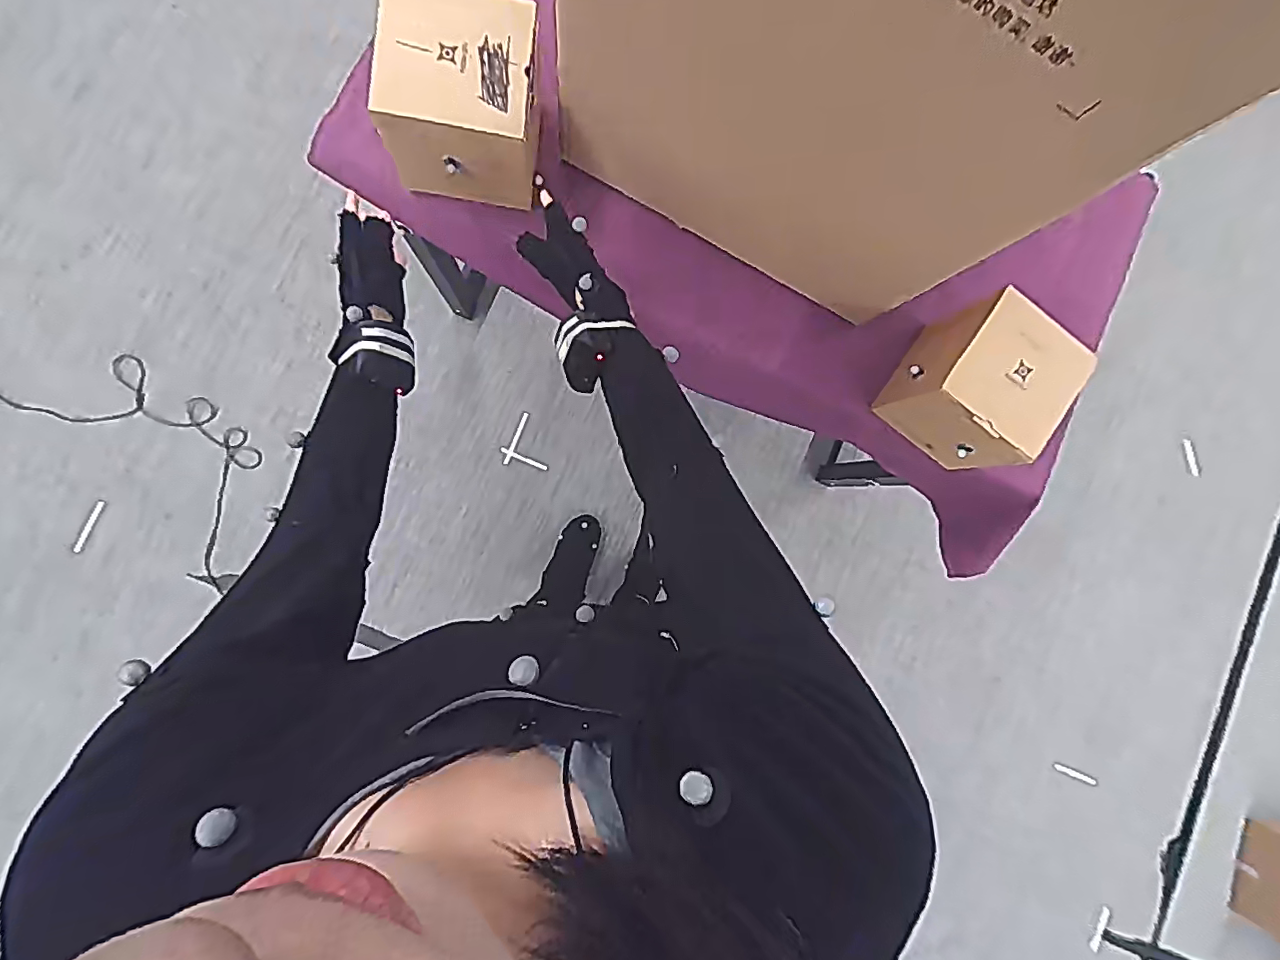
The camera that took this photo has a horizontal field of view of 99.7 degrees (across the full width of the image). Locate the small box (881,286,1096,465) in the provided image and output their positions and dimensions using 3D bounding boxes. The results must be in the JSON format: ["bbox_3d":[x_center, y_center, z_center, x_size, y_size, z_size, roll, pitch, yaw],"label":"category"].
[{"bbox_3d":[0.486,-0.135,0.785,0.168,0.176,0.179,36,83,-6],"label":"small box"}]

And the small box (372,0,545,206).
[{"bbox_3d":[-0.219,-0.483,0.697,0.179,0.176,0.168,6,88,-8],"label":"small box"}]
